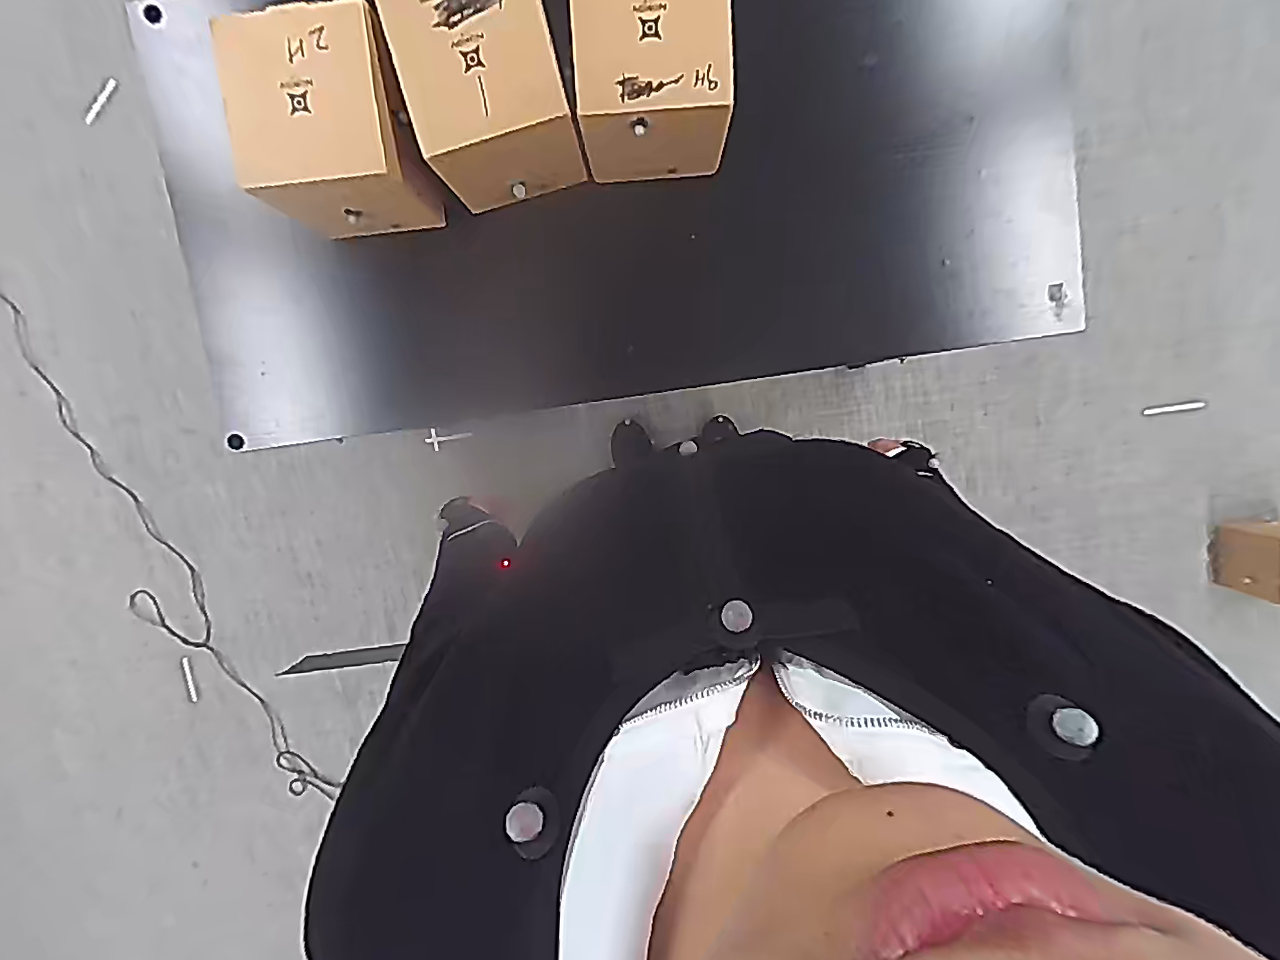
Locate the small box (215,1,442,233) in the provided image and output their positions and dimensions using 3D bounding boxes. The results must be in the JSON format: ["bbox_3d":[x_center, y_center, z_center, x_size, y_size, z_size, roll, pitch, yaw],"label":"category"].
[{"bbox_3d":[-0.356,-0.414,0.653,0.168,0.176,0.179,-6,96,2],"label":"small box"}]

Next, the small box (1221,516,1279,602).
[{"bbox_3d":[1.653,0.201,1.380,0.168,0.176,0.179,-9,96,2],"label":"small box"}]
